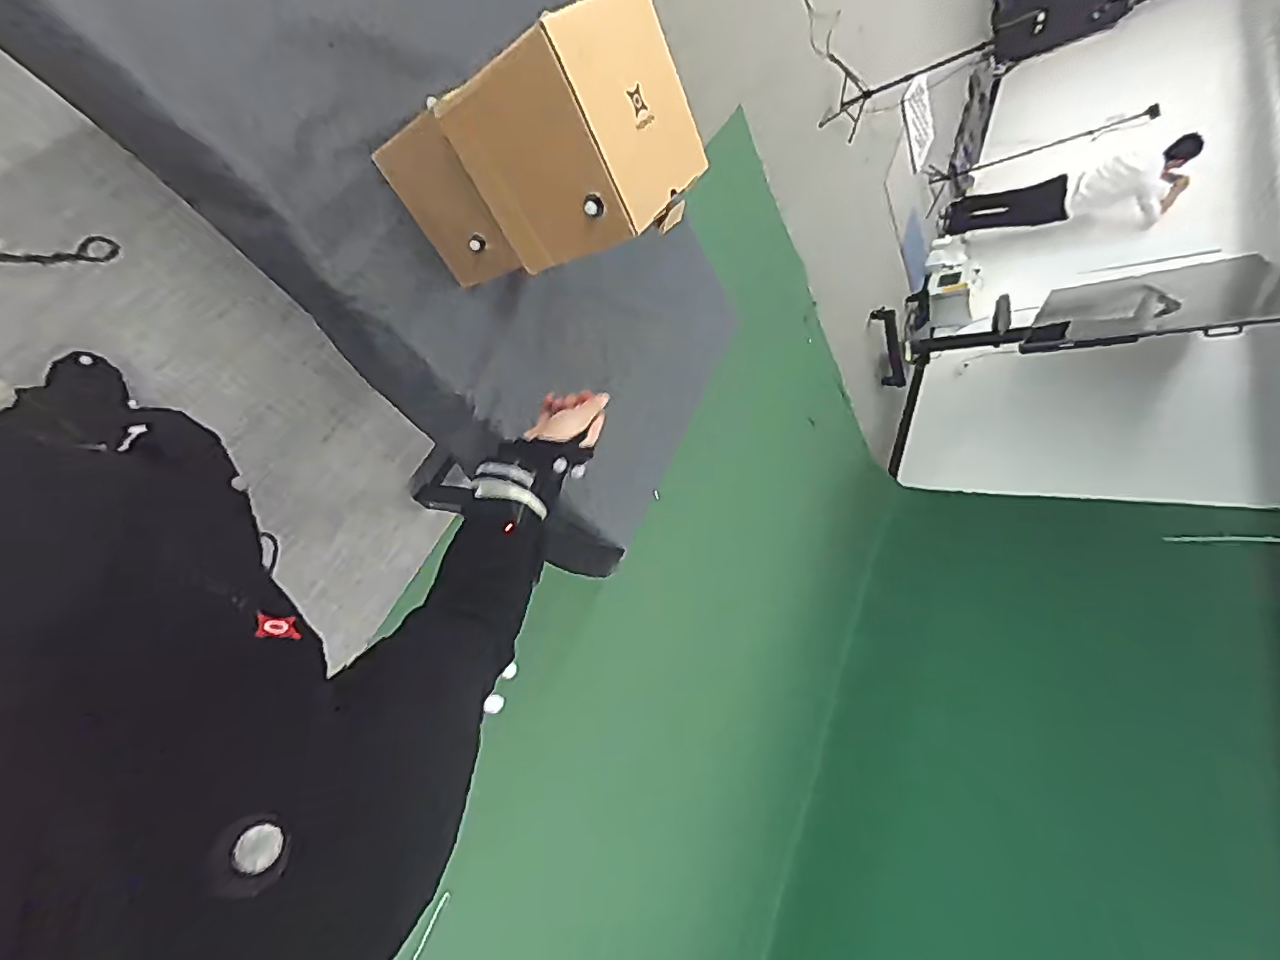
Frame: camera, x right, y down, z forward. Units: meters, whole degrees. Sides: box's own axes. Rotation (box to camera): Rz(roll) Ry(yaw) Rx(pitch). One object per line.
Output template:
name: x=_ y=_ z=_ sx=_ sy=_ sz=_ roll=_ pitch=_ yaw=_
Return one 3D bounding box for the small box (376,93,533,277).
small box: x=-0.179 y=-0.373 z=0.671 sx=0.168 sy=0.176 sz=0.179 roll=-58 pitch=131 yaw=-31

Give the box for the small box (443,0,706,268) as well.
small box: x=-0.063 y=-0.349 z=0.557 sx=0.168 sy=0.176 sz=0.179 roll=-56 pitch=132 yaw=-32
